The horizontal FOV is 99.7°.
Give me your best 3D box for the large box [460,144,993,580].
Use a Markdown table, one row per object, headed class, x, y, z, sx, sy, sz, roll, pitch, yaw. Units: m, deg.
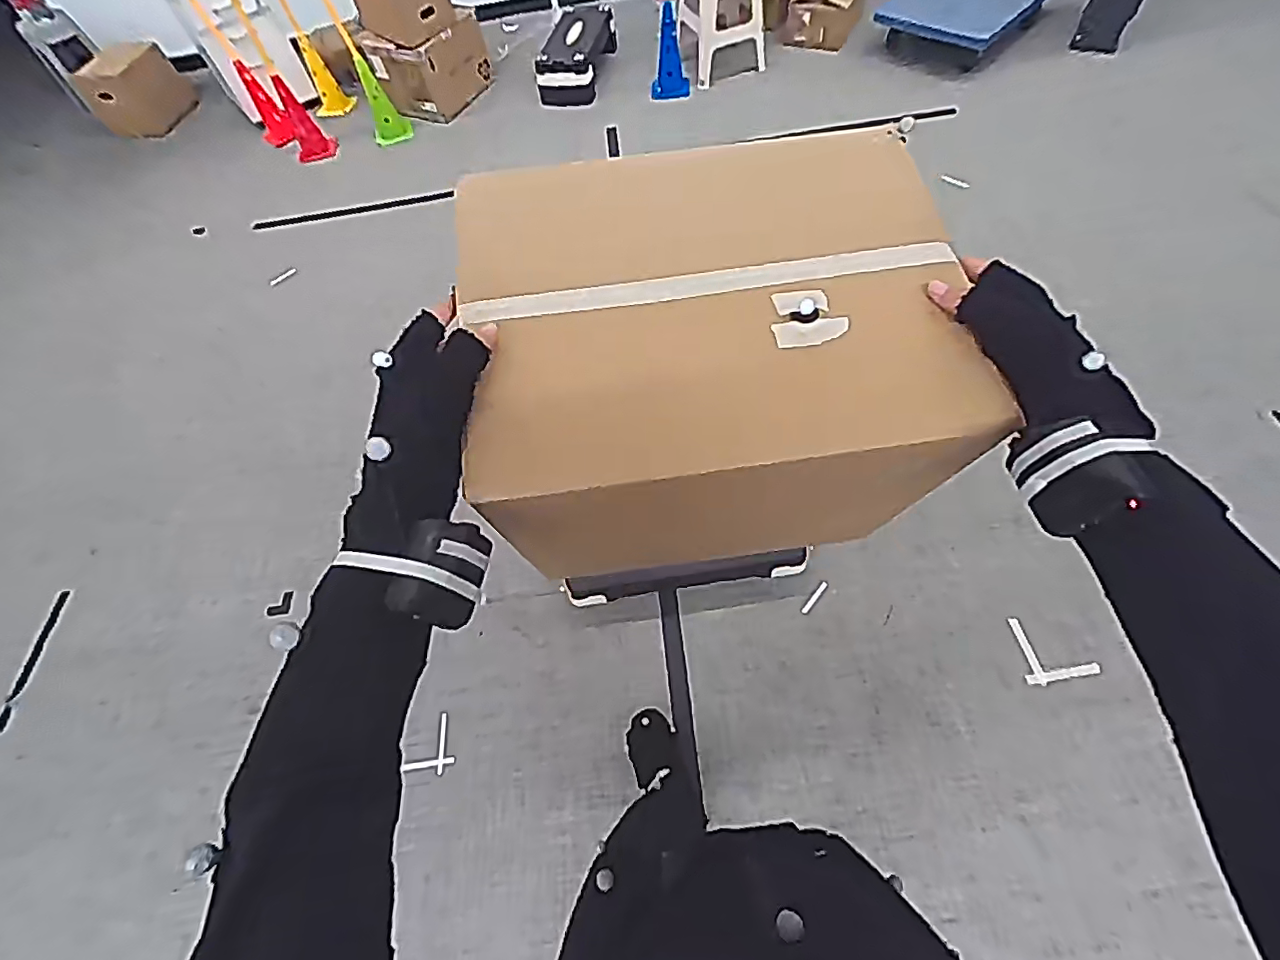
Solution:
| class | x | y | z | sx | sy | sz | roll | pitch | yaw |
| --- | --- | --- | --- | --- | --- | --- | --- | --- | --- |
| large box | 0.052 | -0.097 | 0.591 | 0.408 | 0.320 | 0.320 | -8 | 69 | -2 |
